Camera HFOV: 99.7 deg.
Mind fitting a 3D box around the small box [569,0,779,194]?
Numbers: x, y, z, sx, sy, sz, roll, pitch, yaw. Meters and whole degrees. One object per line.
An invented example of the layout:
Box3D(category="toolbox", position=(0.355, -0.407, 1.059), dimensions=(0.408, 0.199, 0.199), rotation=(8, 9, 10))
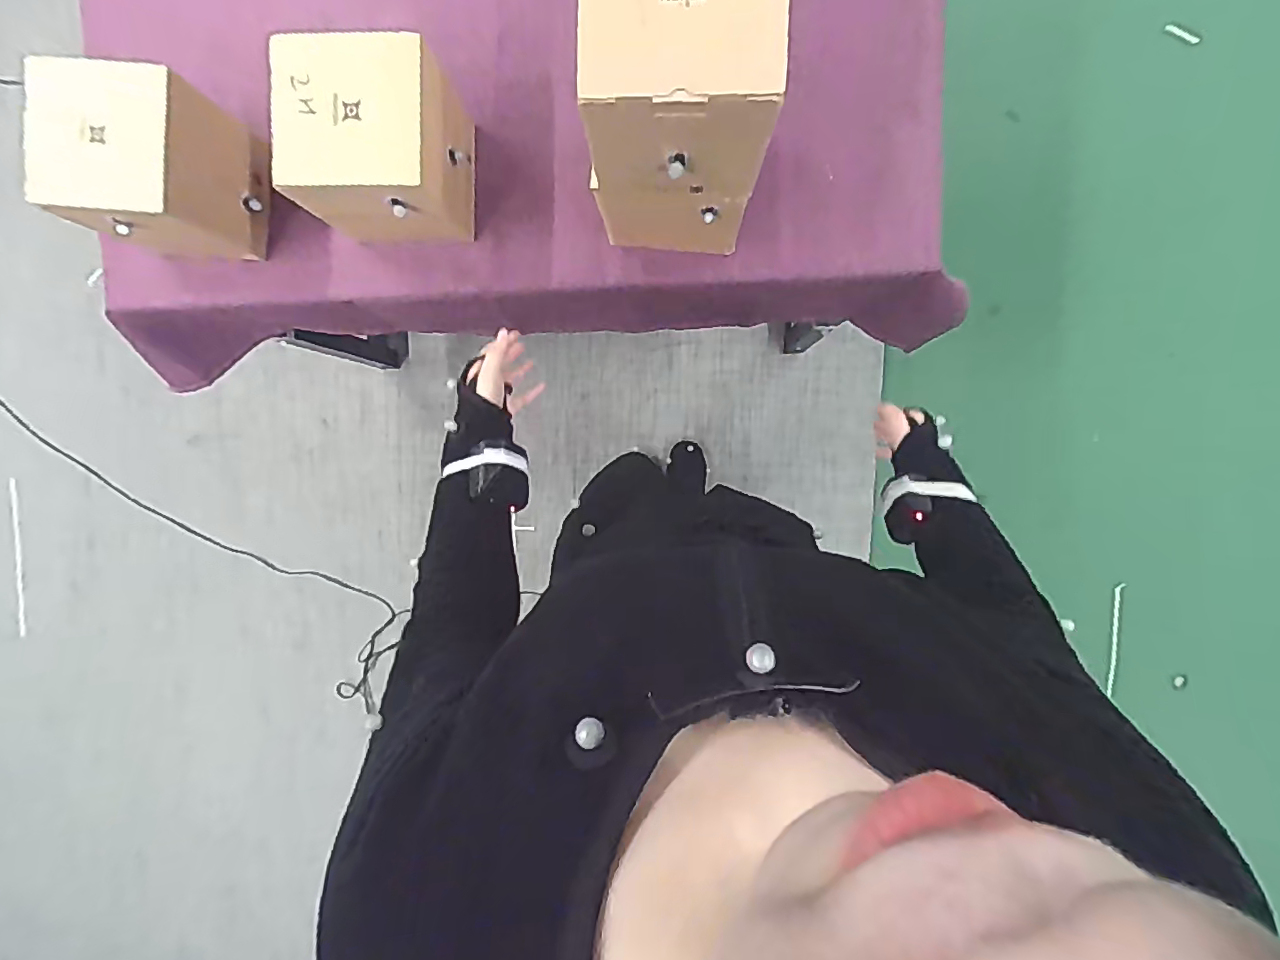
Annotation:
Box3D(category="small box", position=(0.032, -0.387, 0.501), dimensions=(0.168, 0.176, 0.179), rotation=(2, 94, 3))

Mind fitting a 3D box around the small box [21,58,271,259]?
Box3D(category="small box", position=(-0.626, -0.402, 0.704), dimensions=(0.179, 0.176, 0.168), rotation=(6, 94, 2))

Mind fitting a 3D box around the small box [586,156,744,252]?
Box3D(category="small box", position=(0.039, -0.396, 0.665), dimensions=(0.179, 0.176, 0.168), rotation=(6, 94, 3))

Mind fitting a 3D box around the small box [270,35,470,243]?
Box3D(category="small box", position=(-0.326, -0.415, 0.684), dimensions=(0.179, 0.176, 0.168), rotation=(2, 93, 3))
